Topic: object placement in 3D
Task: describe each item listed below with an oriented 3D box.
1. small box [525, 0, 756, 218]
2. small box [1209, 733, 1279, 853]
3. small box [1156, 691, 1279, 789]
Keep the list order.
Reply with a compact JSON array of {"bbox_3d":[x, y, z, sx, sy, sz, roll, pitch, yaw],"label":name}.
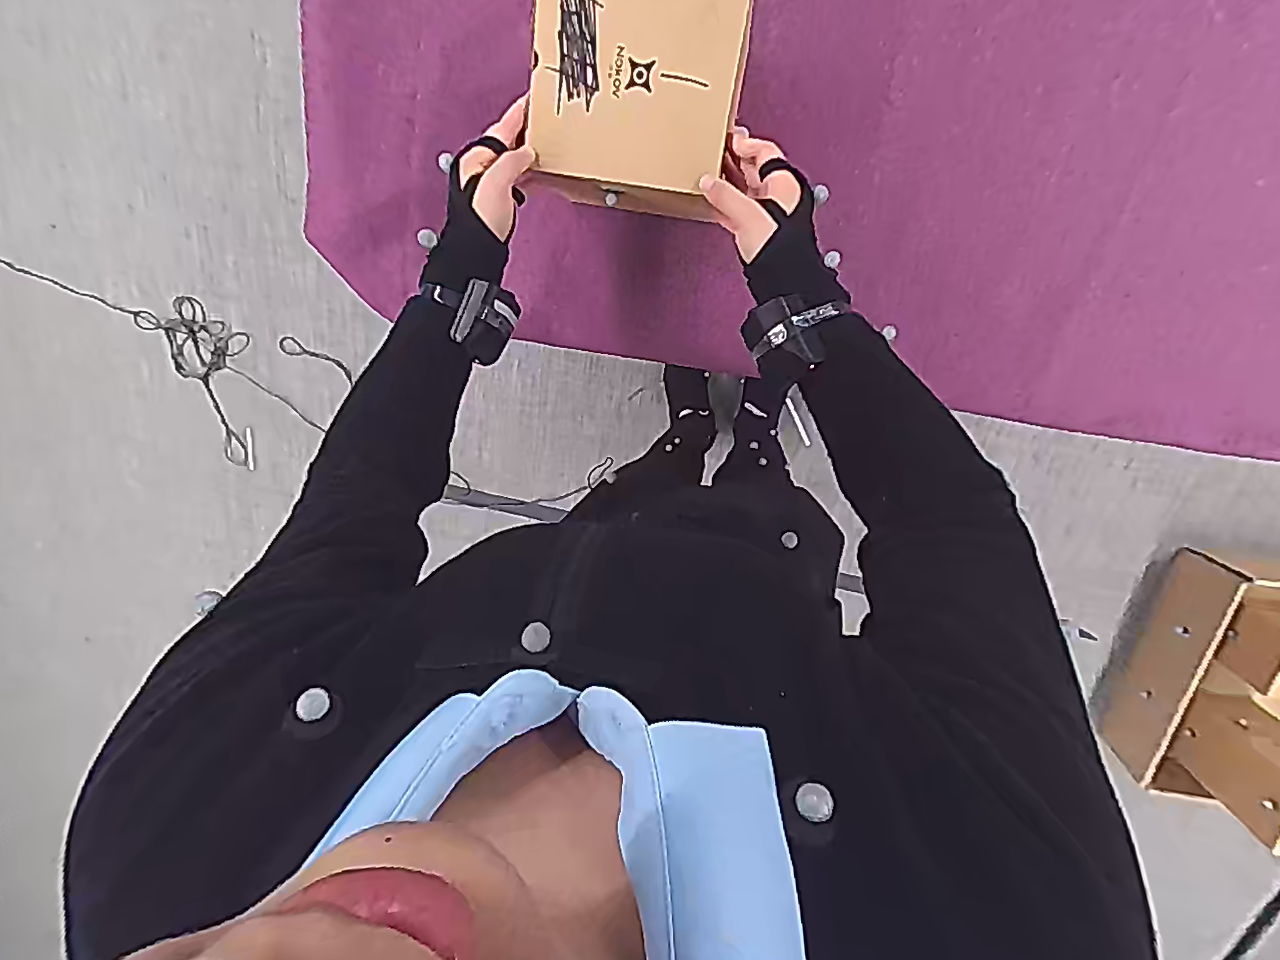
[{"bbox_3d":[0.006,-0.362,0.521,0.179,0.176,0.168,11,110,4],"label":"small box"},{"bbox_3d":[1.440,0.702,1.199,0.168,0.176,0.179,8,108,6],"label":"small box"},{"bbox_3d":[1.466,0.655,1.352,0.179,0.176,0.168,8,109,5],"label":"small box"}]
